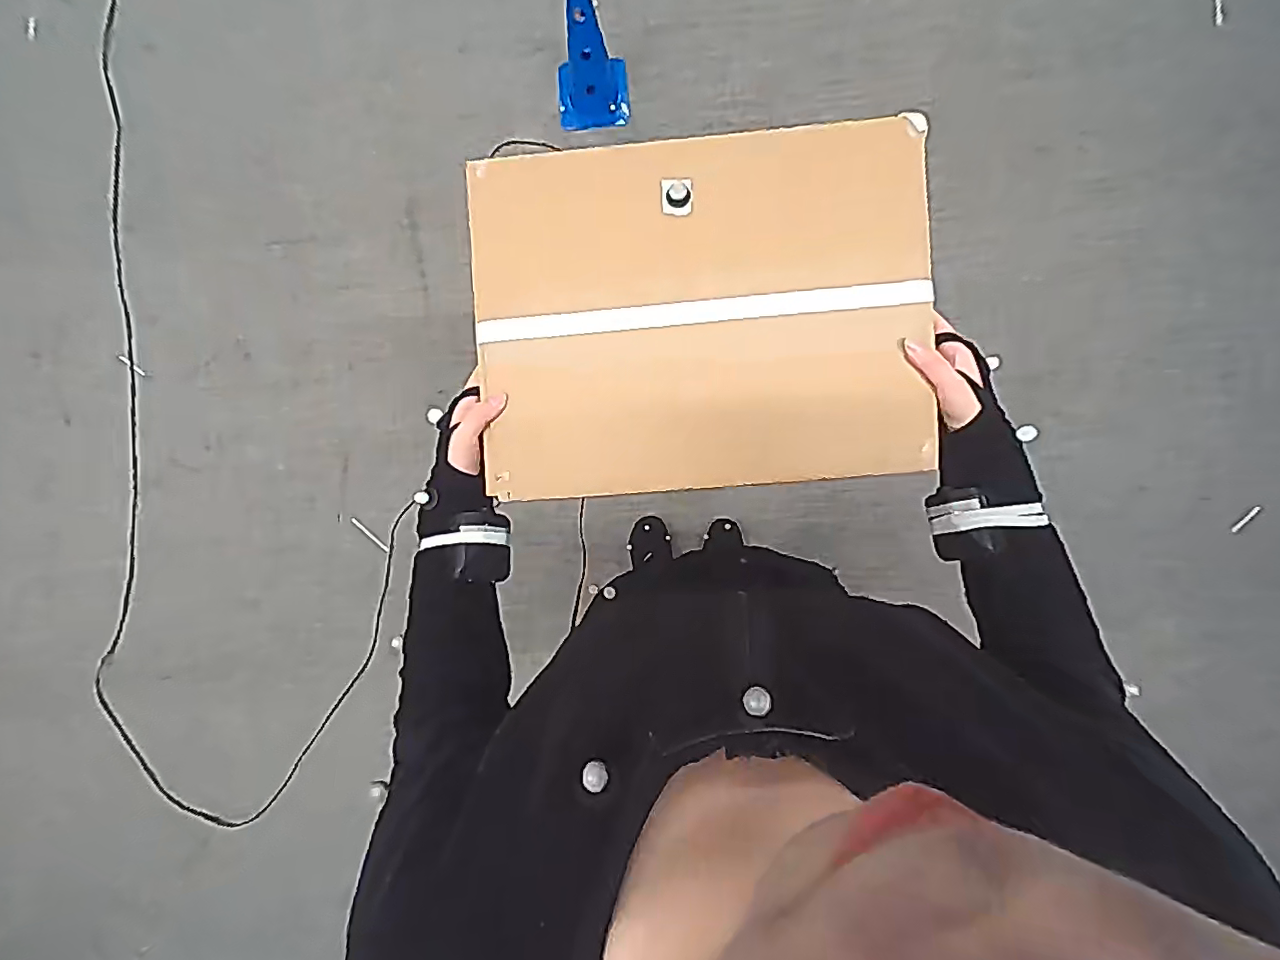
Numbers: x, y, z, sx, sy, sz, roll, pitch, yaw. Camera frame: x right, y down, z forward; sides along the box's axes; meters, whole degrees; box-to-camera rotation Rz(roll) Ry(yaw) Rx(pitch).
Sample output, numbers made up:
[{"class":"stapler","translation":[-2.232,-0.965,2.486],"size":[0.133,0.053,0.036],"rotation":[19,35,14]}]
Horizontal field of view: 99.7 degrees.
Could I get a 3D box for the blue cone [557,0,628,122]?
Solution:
[{"class":"blue cone","translation":[-0.138,-1.122,1.369],"size":[0.193,0.380,0.192],"rotation":[-6,88,1]}]
